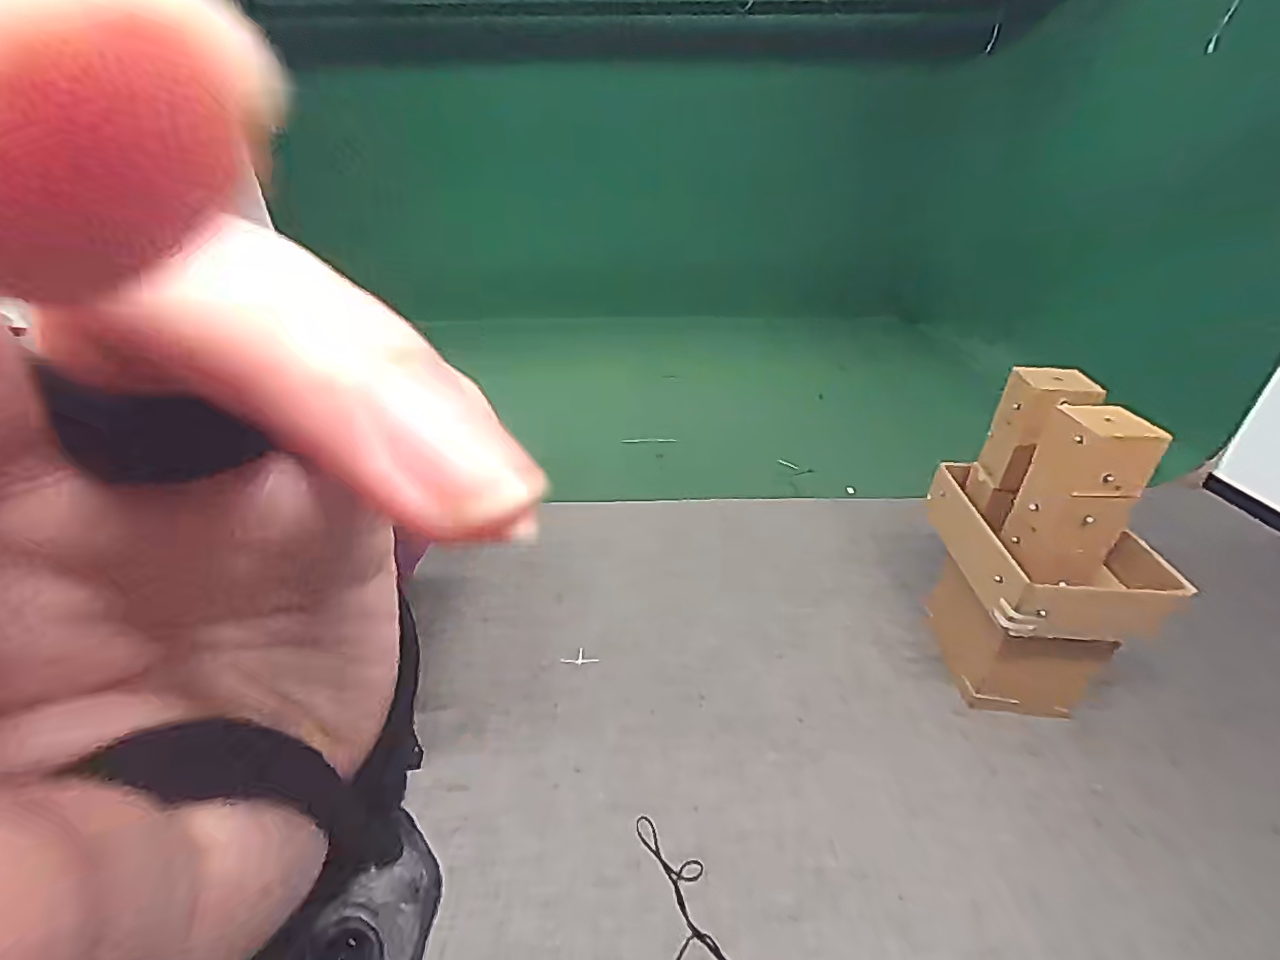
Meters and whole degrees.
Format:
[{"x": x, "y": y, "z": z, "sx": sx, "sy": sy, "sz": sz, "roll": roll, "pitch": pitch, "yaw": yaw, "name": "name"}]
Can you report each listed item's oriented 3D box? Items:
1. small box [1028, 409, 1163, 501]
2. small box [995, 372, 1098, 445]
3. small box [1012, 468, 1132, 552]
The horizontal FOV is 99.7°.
[{"x": 1.130, "y": -0.065, "z": 1.361, "sx": 0.168, "sy": 0.176, "sz": 0.179, "roll": 1, "pitch": 32, "yaw": 2, "name": "small box"}, {"x": 1.175, "y": -0.206, "z": 1.586, "sx": 0.179, "sy": 0.176, "sz": 0.168, "roll": 6, "pitch": 34, "yaw": 8, "name": "small box"}, {"x": 1.132, "y": 0.078, "z": 1.441, "sx": 0.179, "sy": 0.176, "sz": 0.168, "roll": 0, "pitch": 31, "yaw": 2, "name": "small box"}]
